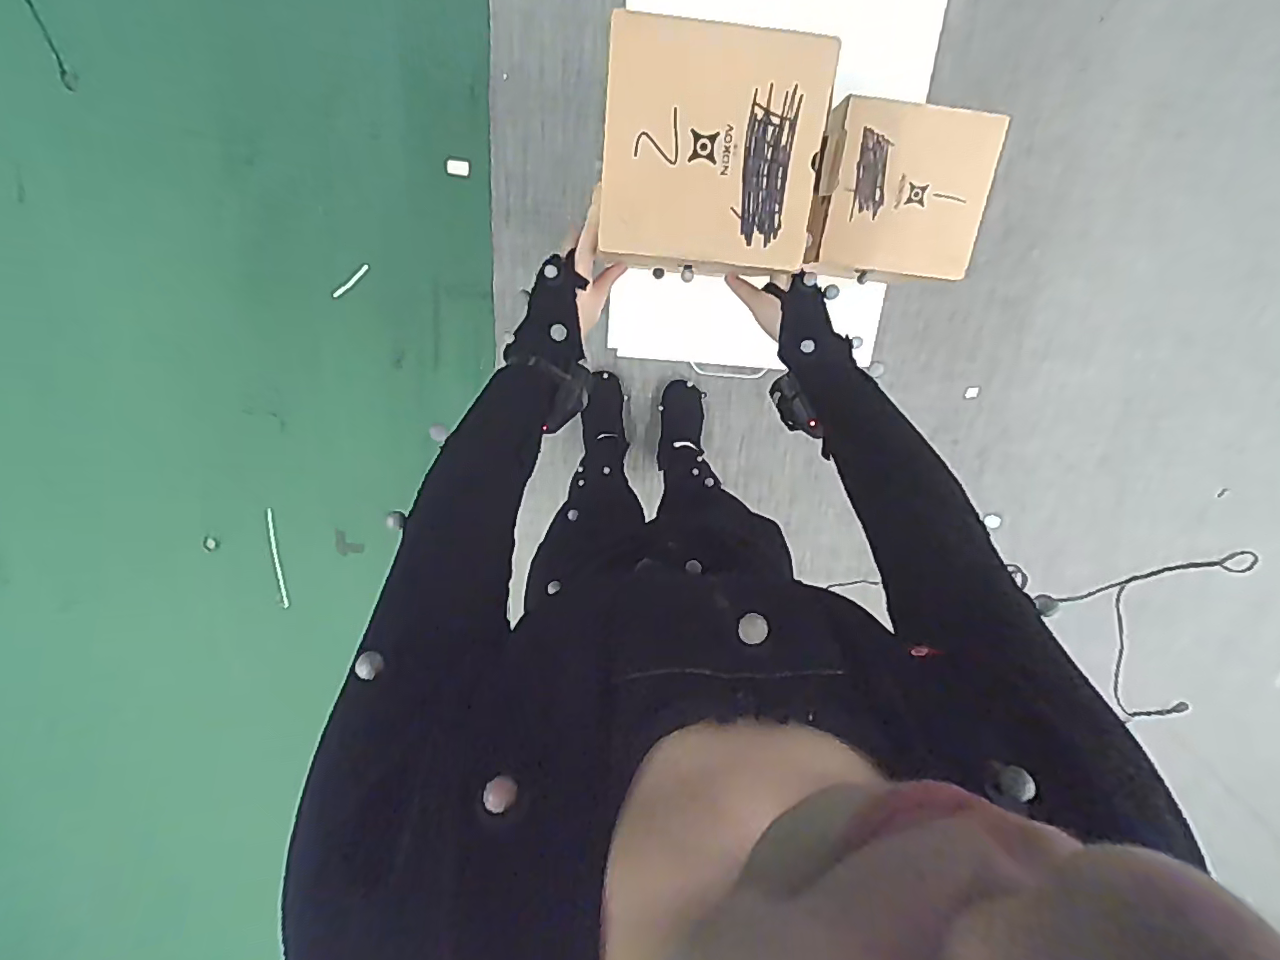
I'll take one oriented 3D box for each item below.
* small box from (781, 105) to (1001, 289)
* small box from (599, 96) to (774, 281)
[{"bbox_3d":[0.290,-0.334,0.673,0.179,0.176,0.168,6,108,-3],"label":"small box"},{"bbox_3d":[0.046,-0.339,0.664,0.179,0.176,0.168,4,109,-4],"label":"small box"}]
